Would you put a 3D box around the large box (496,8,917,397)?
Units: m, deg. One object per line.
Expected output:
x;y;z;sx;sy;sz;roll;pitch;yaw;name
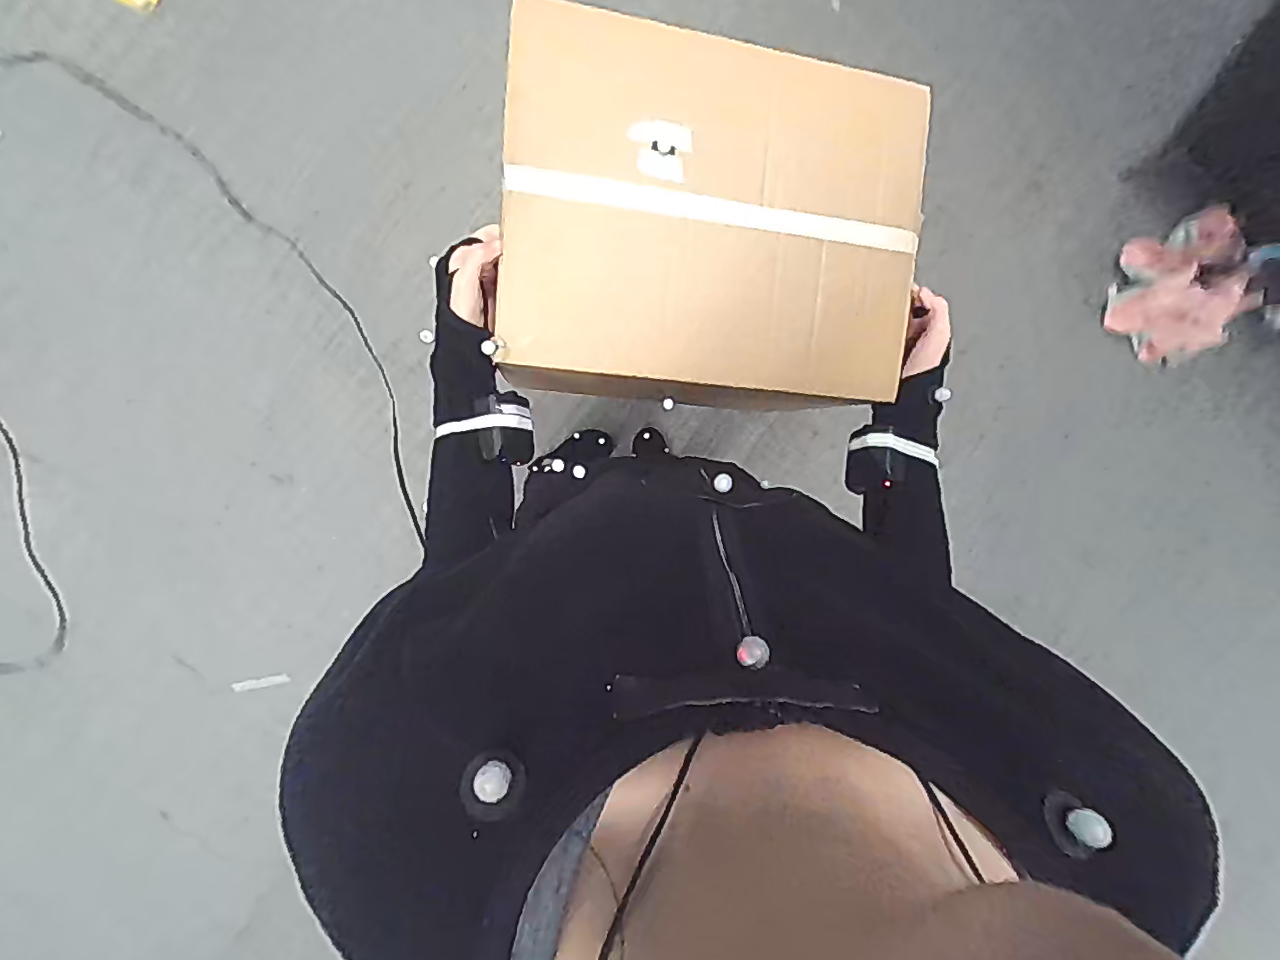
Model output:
0.048;-0.269;0.662;0.408;0.320;0.320;3;95;-10;large box
